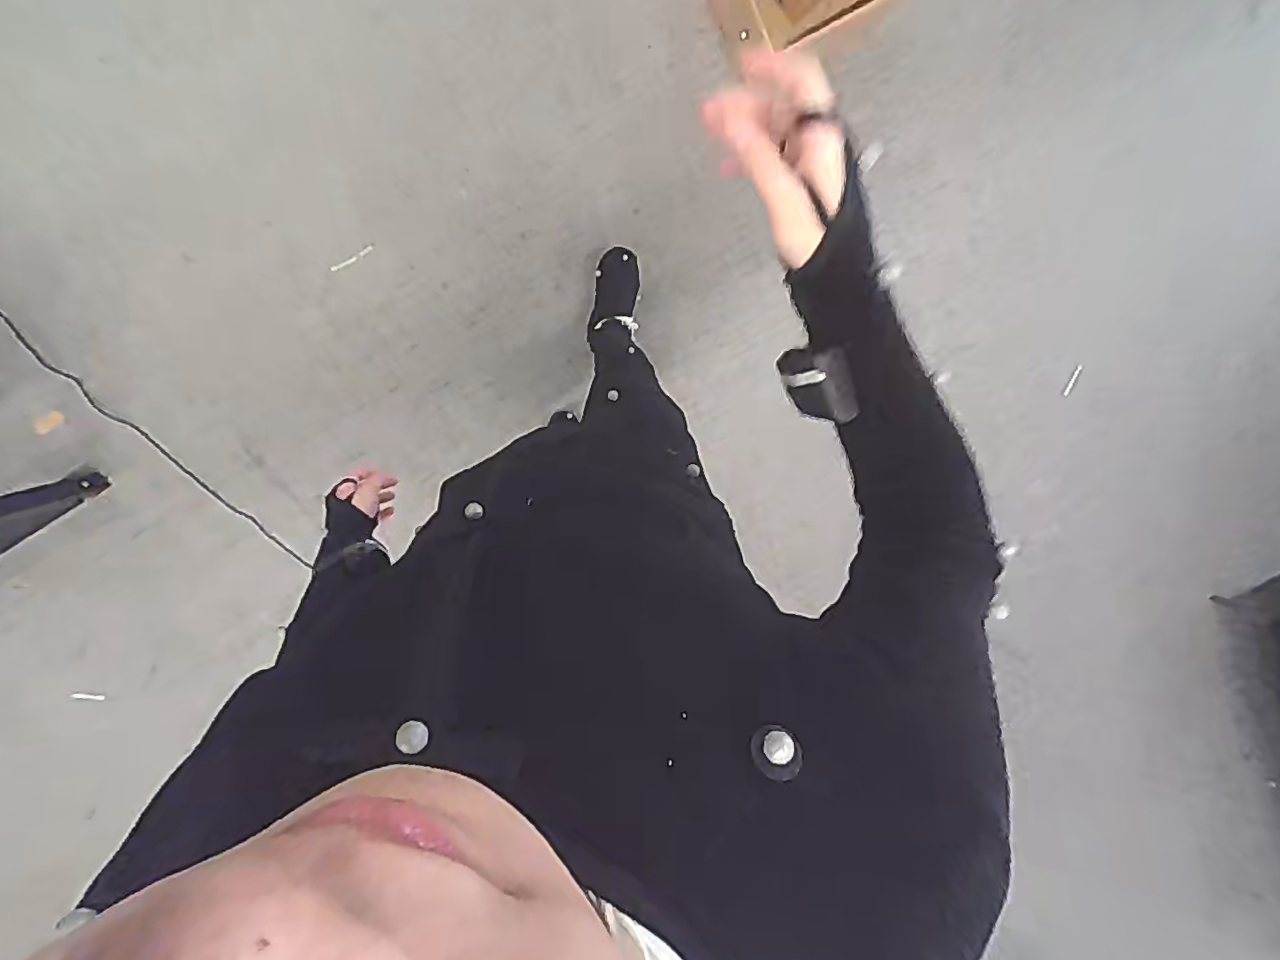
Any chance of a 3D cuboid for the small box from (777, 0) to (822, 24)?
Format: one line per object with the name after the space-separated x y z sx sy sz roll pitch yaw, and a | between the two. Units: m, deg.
0.397 -1.226 1.250 0.179 0.176 0.168 -43 102 5 | small box
